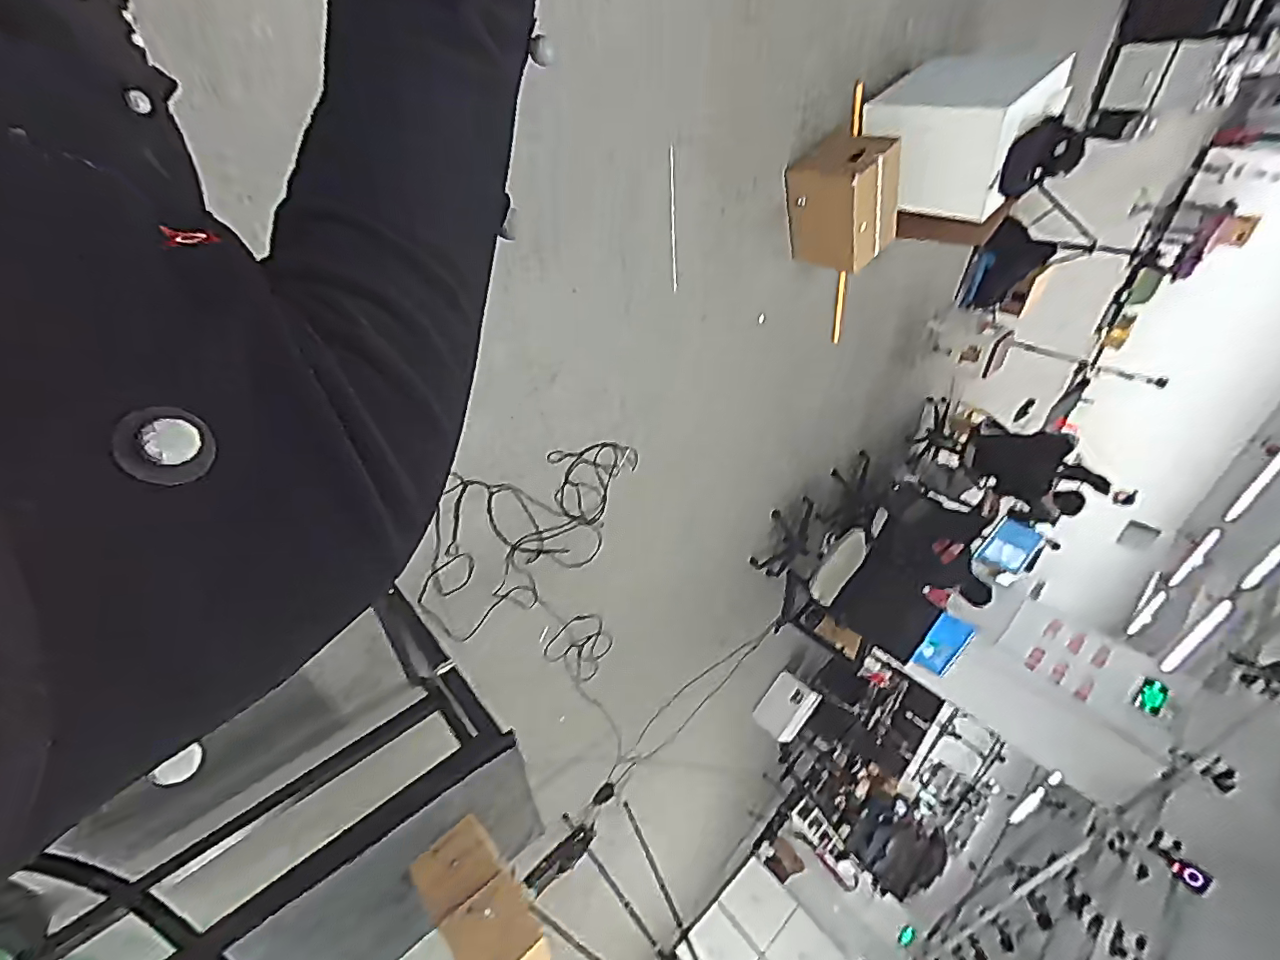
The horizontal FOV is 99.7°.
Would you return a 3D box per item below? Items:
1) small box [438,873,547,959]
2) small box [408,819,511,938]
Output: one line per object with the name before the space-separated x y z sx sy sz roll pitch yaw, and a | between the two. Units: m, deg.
small box | -0.322 1.025 1.194 0.168 0.176 0.179 -26 133 -33
small box | -0.430 0.964 1.303 0.168 0.176 0.179 -32 137 -27
